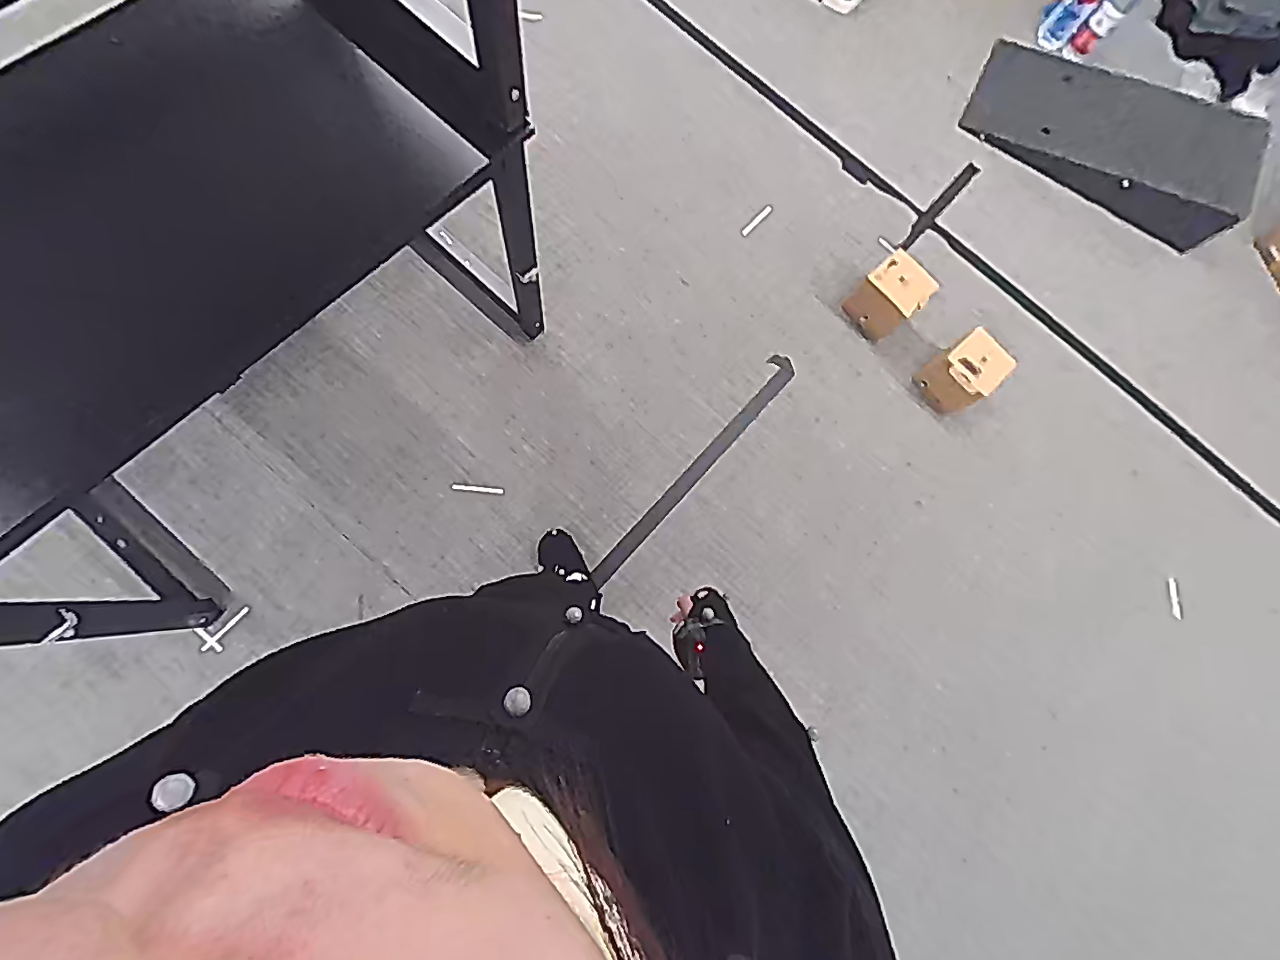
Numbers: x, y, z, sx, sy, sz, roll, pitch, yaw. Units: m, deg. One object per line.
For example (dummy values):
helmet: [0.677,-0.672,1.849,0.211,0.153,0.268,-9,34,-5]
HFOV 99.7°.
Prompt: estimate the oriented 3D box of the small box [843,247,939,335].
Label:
small box: [0.788,-0.586,1.711,0.168,0.176,0.179,-42,87,-14]

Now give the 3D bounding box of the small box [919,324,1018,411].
small box: [1.014,-0.344,1.692,0.179,0.176,0.168,-41,86,-14]
